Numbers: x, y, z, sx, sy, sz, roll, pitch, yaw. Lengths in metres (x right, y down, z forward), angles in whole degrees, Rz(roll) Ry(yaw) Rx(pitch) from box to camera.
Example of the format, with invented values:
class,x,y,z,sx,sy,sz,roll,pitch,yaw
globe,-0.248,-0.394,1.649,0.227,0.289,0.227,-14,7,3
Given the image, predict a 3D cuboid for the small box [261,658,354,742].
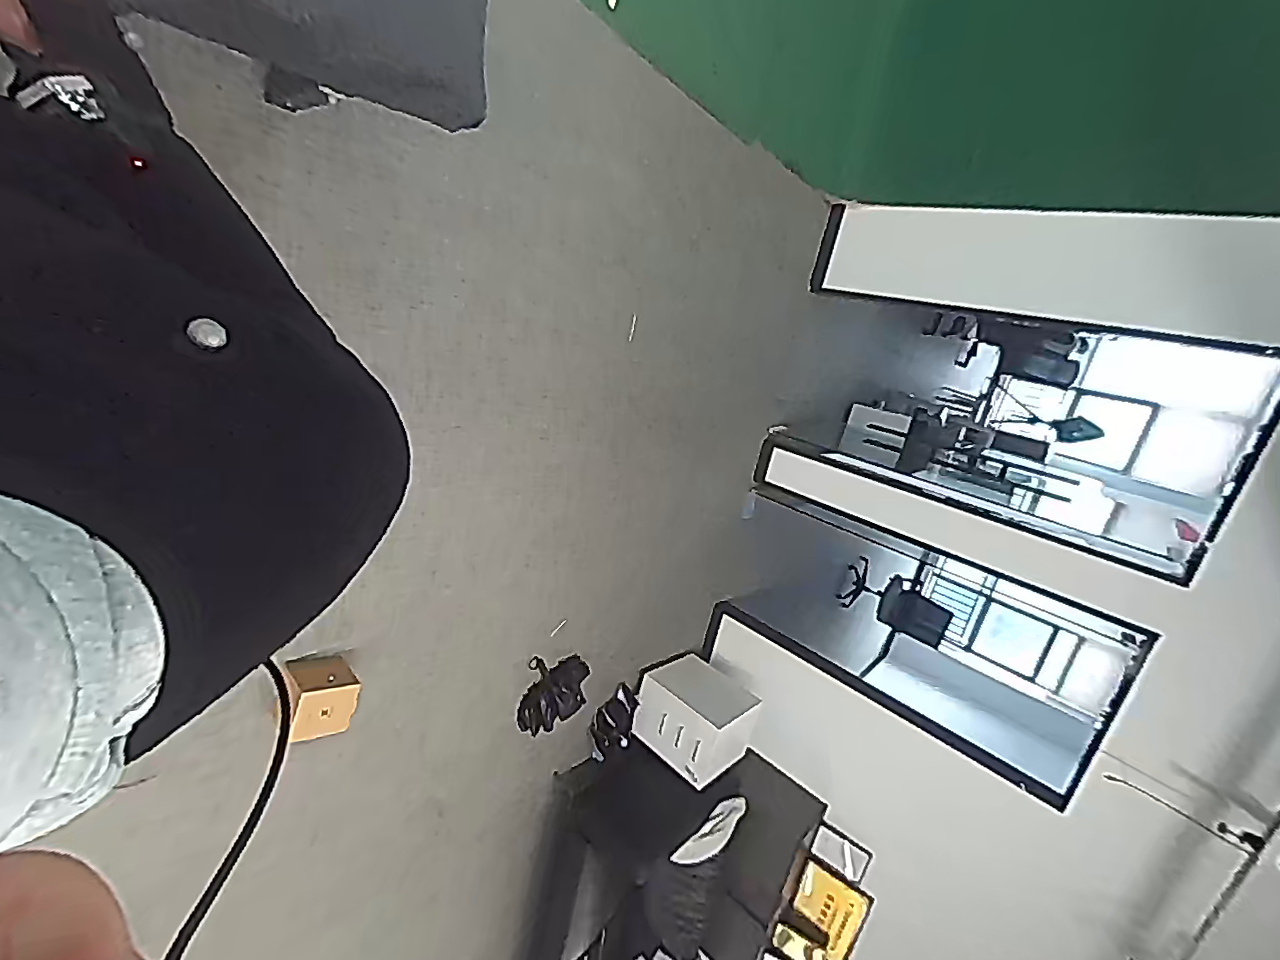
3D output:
class,x,y,z,sx,sy,sz,roll,pitch,yaw
small box,-1.028,0.669,1.670,0.179,0.176,0.168,12,98,-53
